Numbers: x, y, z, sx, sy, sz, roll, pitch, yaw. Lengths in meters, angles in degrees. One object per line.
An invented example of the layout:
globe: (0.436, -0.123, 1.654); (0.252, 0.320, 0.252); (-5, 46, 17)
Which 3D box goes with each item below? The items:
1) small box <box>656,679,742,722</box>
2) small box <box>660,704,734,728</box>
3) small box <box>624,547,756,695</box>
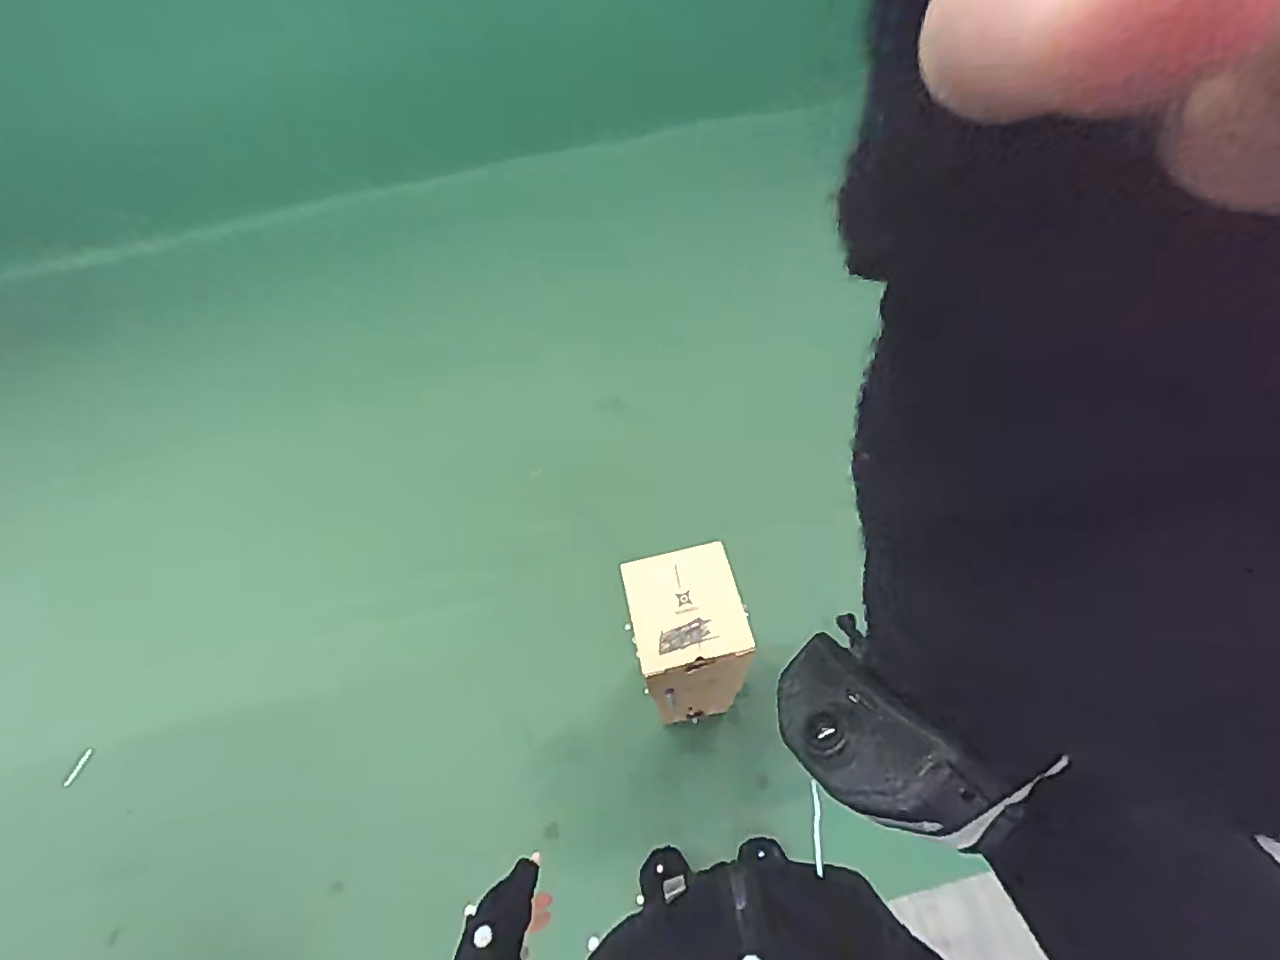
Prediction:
small box: (0.107, 0.398, 1.155); (0.168, 0.176, 0.179); (-14, 59, -3)
small box: (0.120, 0.477, 1.297); (0.168, 0.176, 0.179); (-12, 58, -1)
small box: (0.078, 0.234, 0.871); (0.168, 0.176, 0.179); (-13, 57, -3)
